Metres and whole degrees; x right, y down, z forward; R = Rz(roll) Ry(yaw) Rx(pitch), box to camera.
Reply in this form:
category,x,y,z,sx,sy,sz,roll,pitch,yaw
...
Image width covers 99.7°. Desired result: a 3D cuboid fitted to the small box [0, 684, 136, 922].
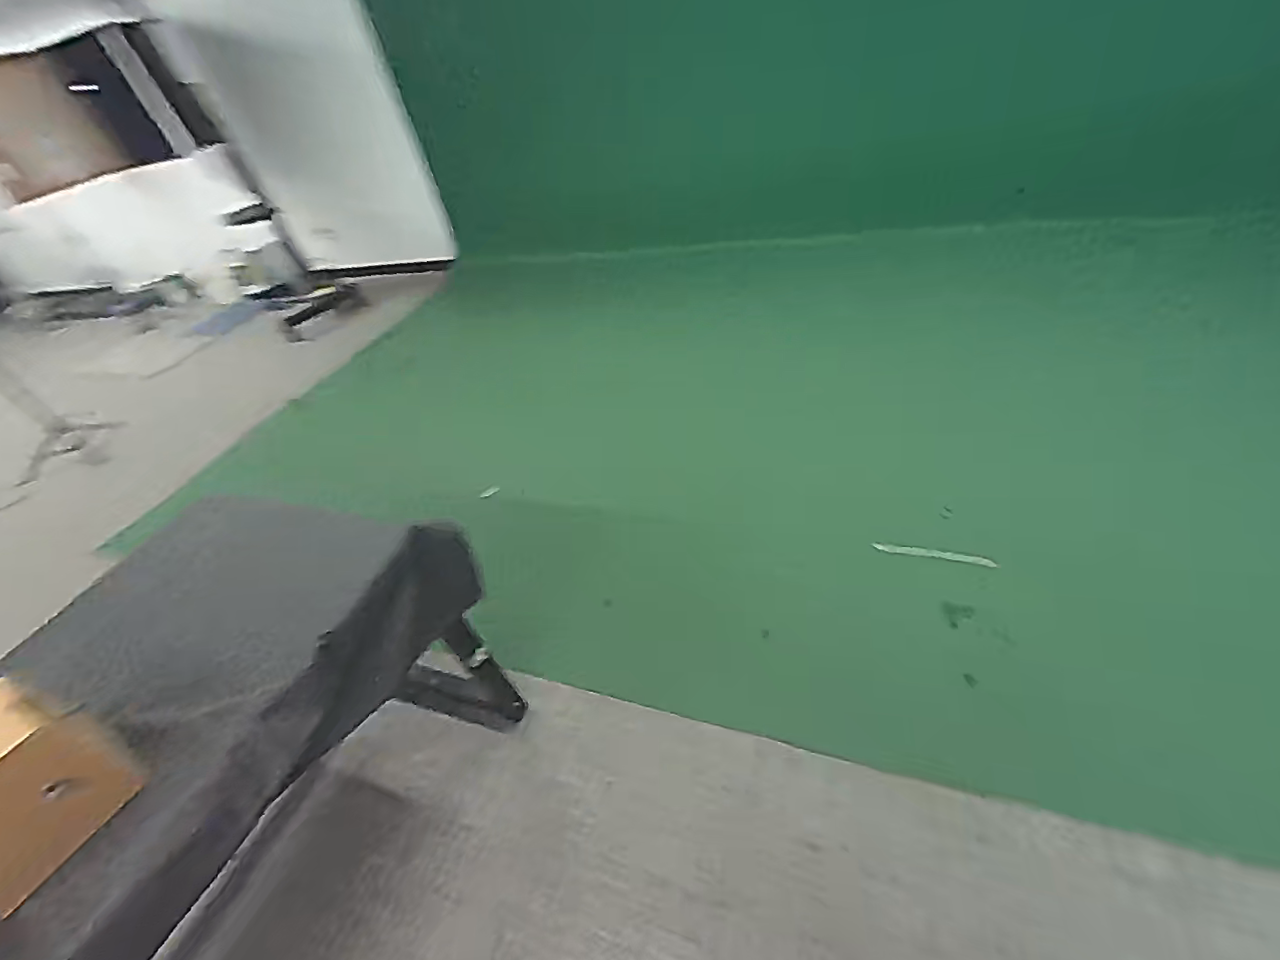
category,x,y,z,sx,sy,sz,roll,pitch,yaw
small box,-0.792,0.397,0.673,0.168,0.176,0.179,12,49,30
